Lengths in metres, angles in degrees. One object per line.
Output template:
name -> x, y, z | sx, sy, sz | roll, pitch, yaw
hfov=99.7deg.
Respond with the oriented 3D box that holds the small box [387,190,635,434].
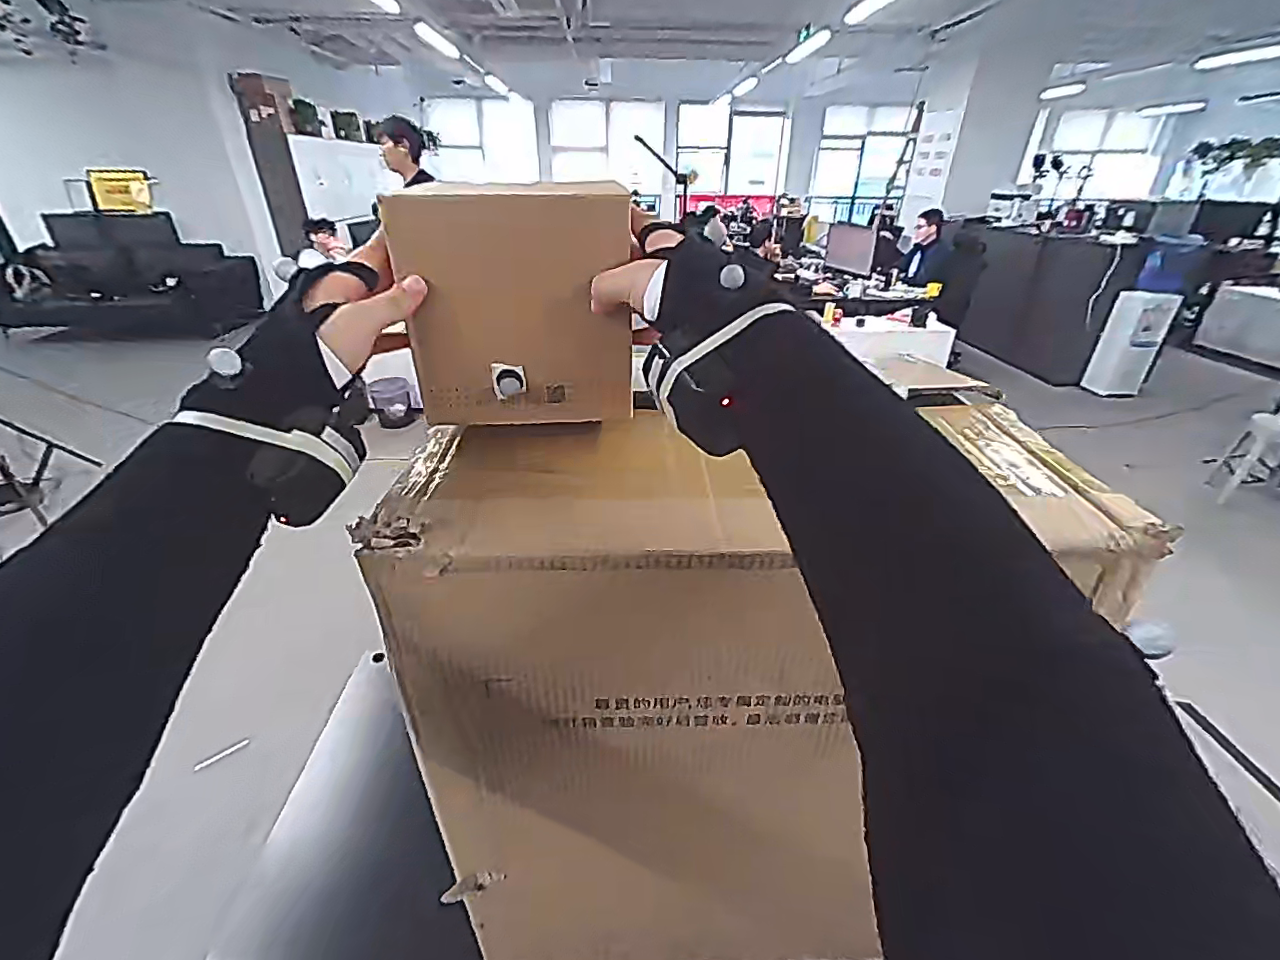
small box -> -0.094, -0.152, 0.471 | 0.168, 0.176, 0.179 | -4, 32, -5
